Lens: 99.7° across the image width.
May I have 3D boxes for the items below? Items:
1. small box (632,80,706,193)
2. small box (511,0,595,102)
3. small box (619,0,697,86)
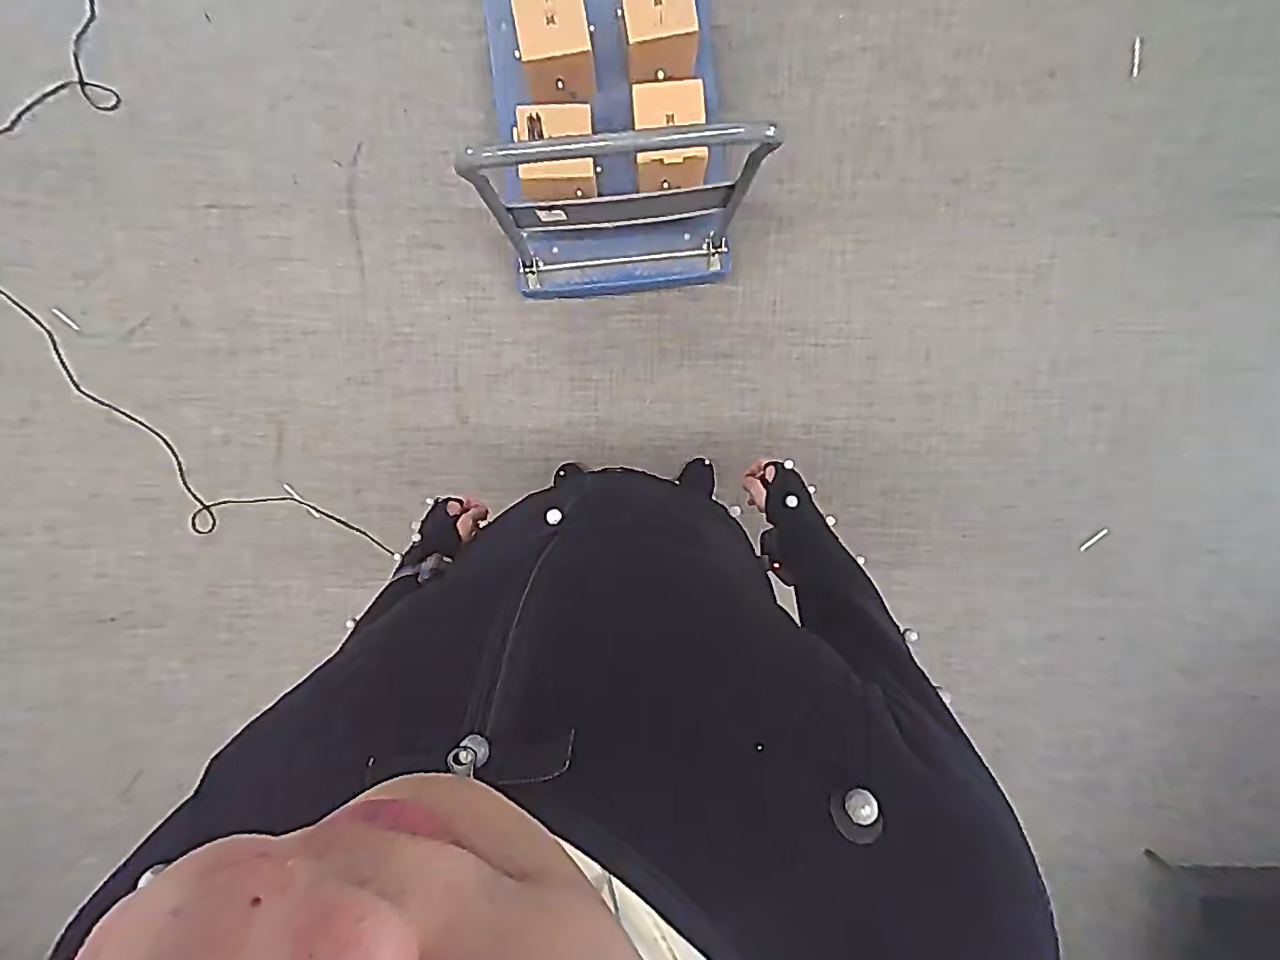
[{"bbox_3d":[0.068,-0.846,1.345,0.168,0.176,0.179,-5,94,0],"label":"small box"},{"bbox_3d":[-0.209,-1.070,1.331,0.168,0.176,0.179,-10,93,0],"label":"small box"},{"bbox_3d":[0.039,-1.114,1.327,0.168,0.176,0.179,-9,94,2],"label":"small box"}]
